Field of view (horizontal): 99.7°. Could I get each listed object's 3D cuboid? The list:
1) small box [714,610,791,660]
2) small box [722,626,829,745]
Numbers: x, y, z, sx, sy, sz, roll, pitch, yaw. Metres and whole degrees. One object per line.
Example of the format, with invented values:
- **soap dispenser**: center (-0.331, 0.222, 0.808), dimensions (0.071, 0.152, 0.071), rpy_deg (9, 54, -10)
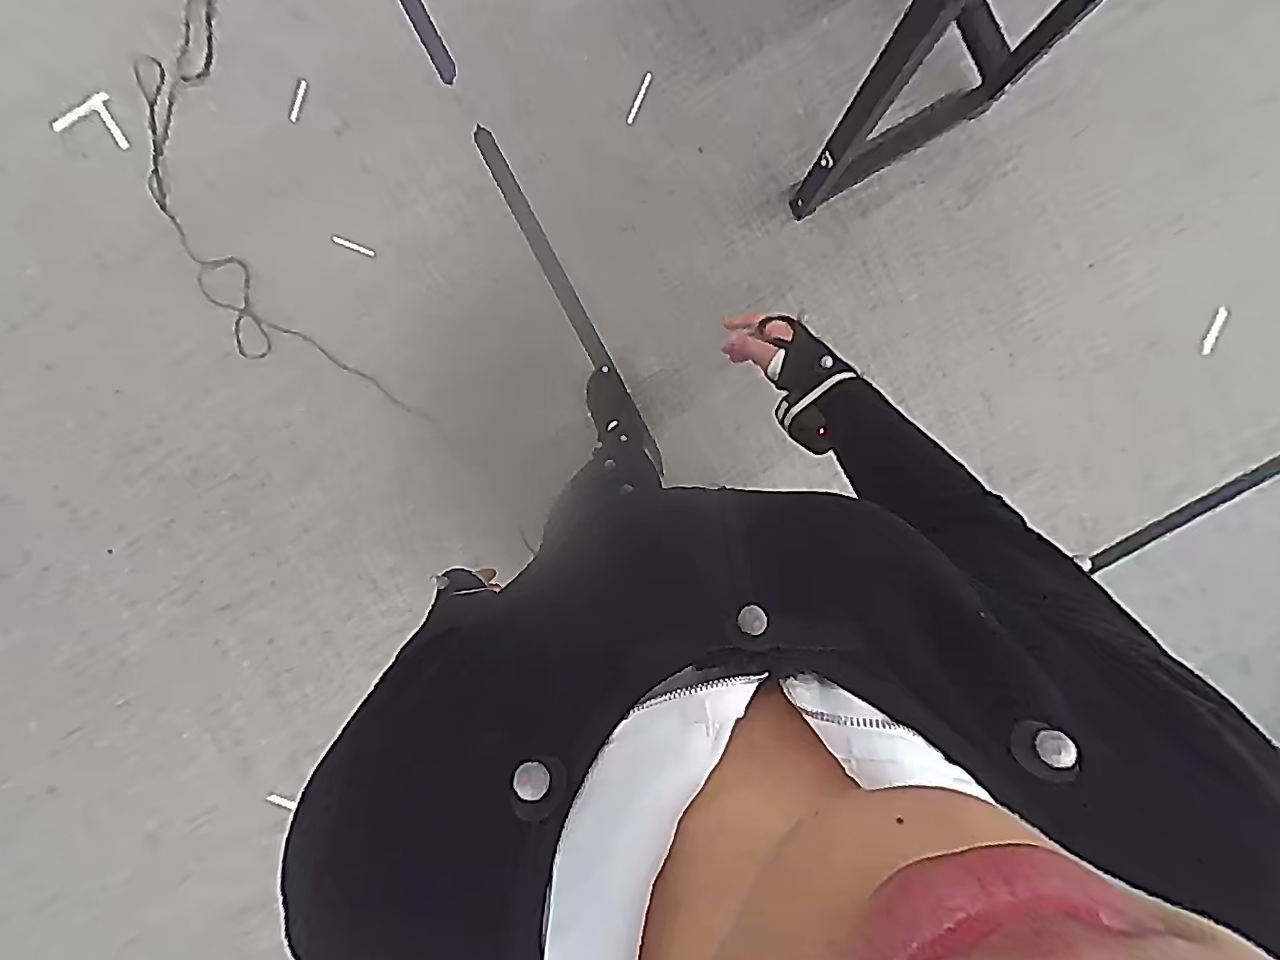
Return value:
- **small box**: center (0.316, 0.471, 1.442), dimensions (0.179, 0.176, 0.168), rpy_deg (-29, 92, 2)
- **small box**: center (0.312, 0.476, 1.277), dimensions (0.168, 0.176, 0.179), rpy_deg (-29, 92, 1)
